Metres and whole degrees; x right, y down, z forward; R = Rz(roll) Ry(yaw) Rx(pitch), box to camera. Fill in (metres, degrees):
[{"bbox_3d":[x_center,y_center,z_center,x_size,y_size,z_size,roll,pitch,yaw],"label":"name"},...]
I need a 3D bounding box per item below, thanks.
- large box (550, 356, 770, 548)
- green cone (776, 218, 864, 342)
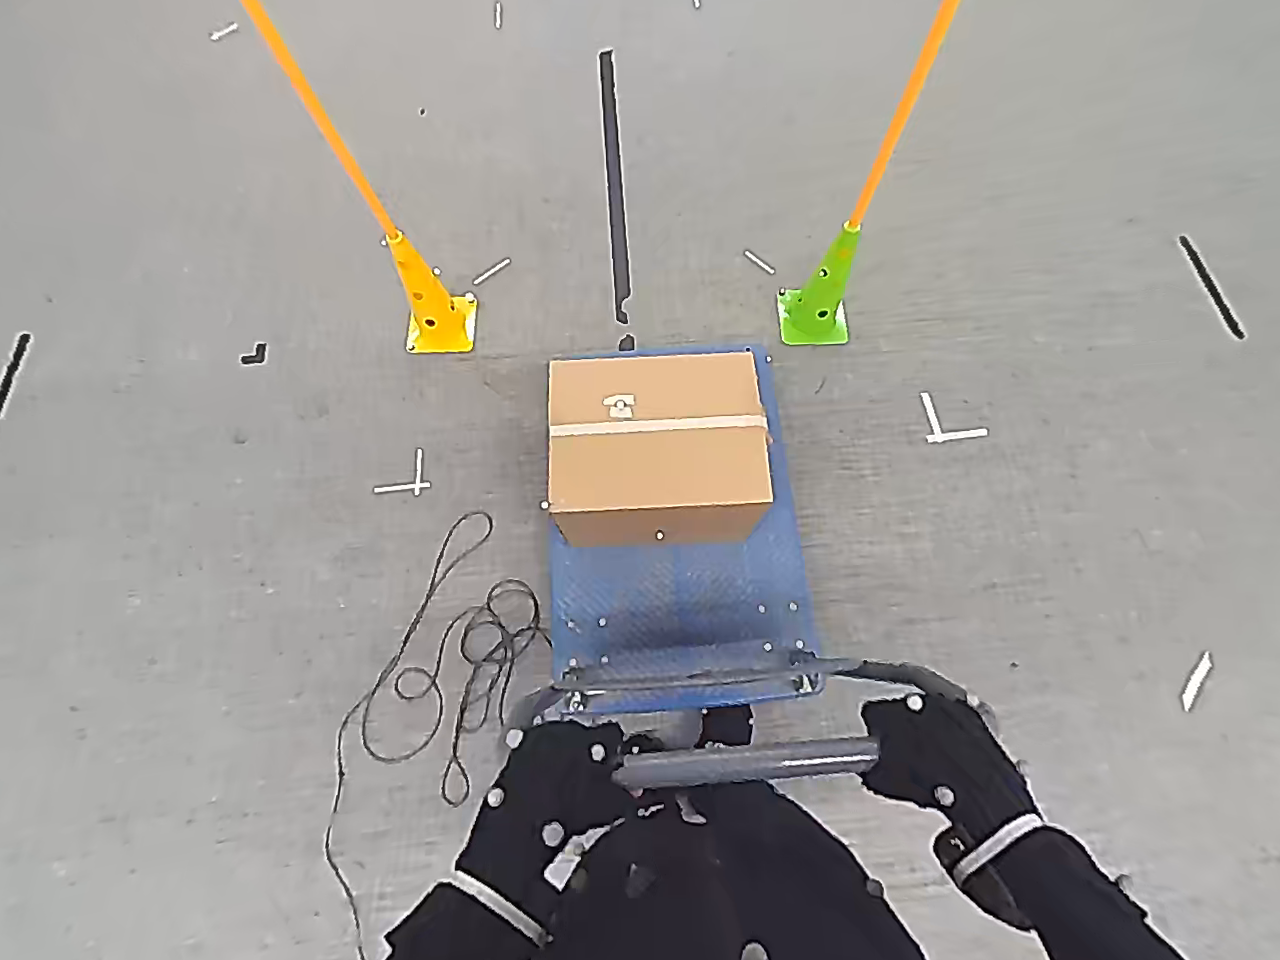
[{"bbox_3d":[0.034,-0.042,1.162,0.408,0.320,0.320,-3,70,1],"label":"large box"},{"bbox_3d":[0.527,-0.567,1.500,0.202,0.368,0.200,-1,70,-1],"label":"green cone"}]
